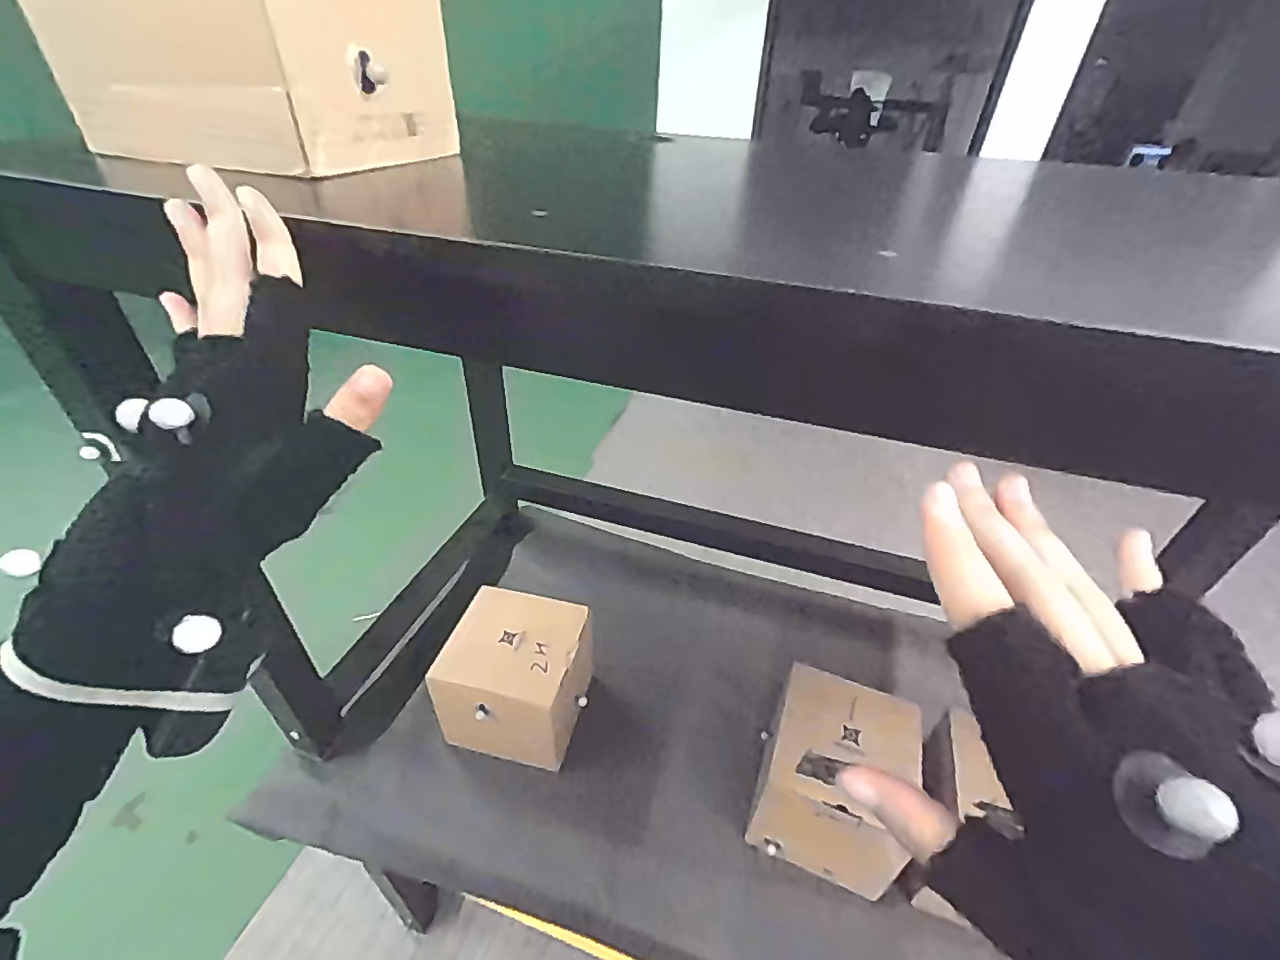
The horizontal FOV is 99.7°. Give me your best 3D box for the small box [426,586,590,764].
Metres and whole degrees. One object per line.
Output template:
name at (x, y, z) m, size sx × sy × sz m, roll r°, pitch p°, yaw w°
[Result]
small box at (-0.180, 0.287, 0.796) m, size 0.179 × 0.176 × 0.168 m, roll 10°, pitch 38°, yaw 9°
